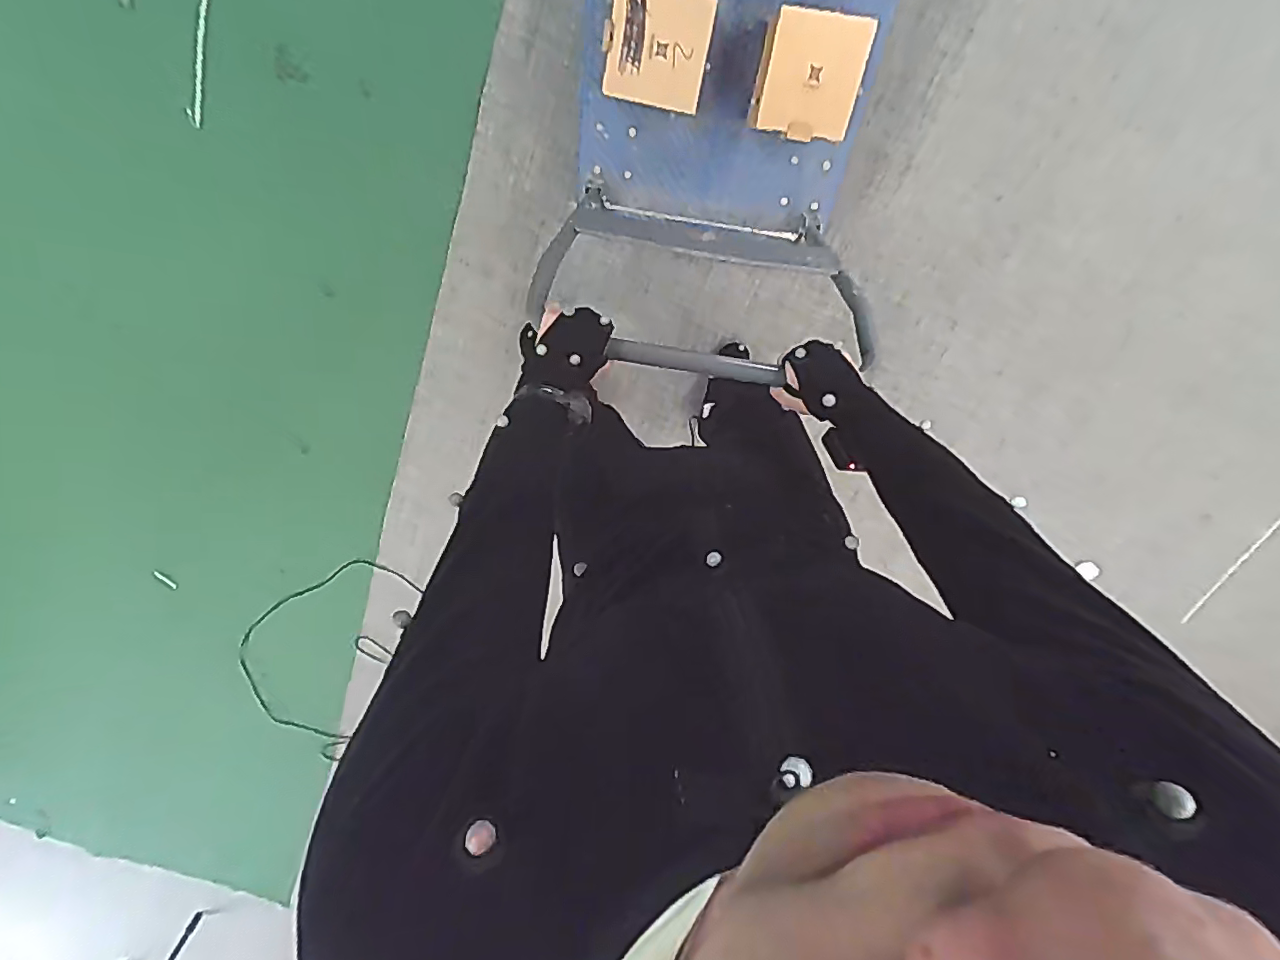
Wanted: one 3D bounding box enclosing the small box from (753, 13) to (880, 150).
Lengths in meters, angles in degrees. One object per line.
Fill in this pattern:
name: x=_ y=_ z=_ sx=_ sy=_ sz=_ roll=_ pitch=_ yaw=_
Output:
small box: x=0.315 y=-0.736 z=1.010 sx=0.168 sy=0.176 sz=0.179 roll=9 pitch=126 yaw=-1
